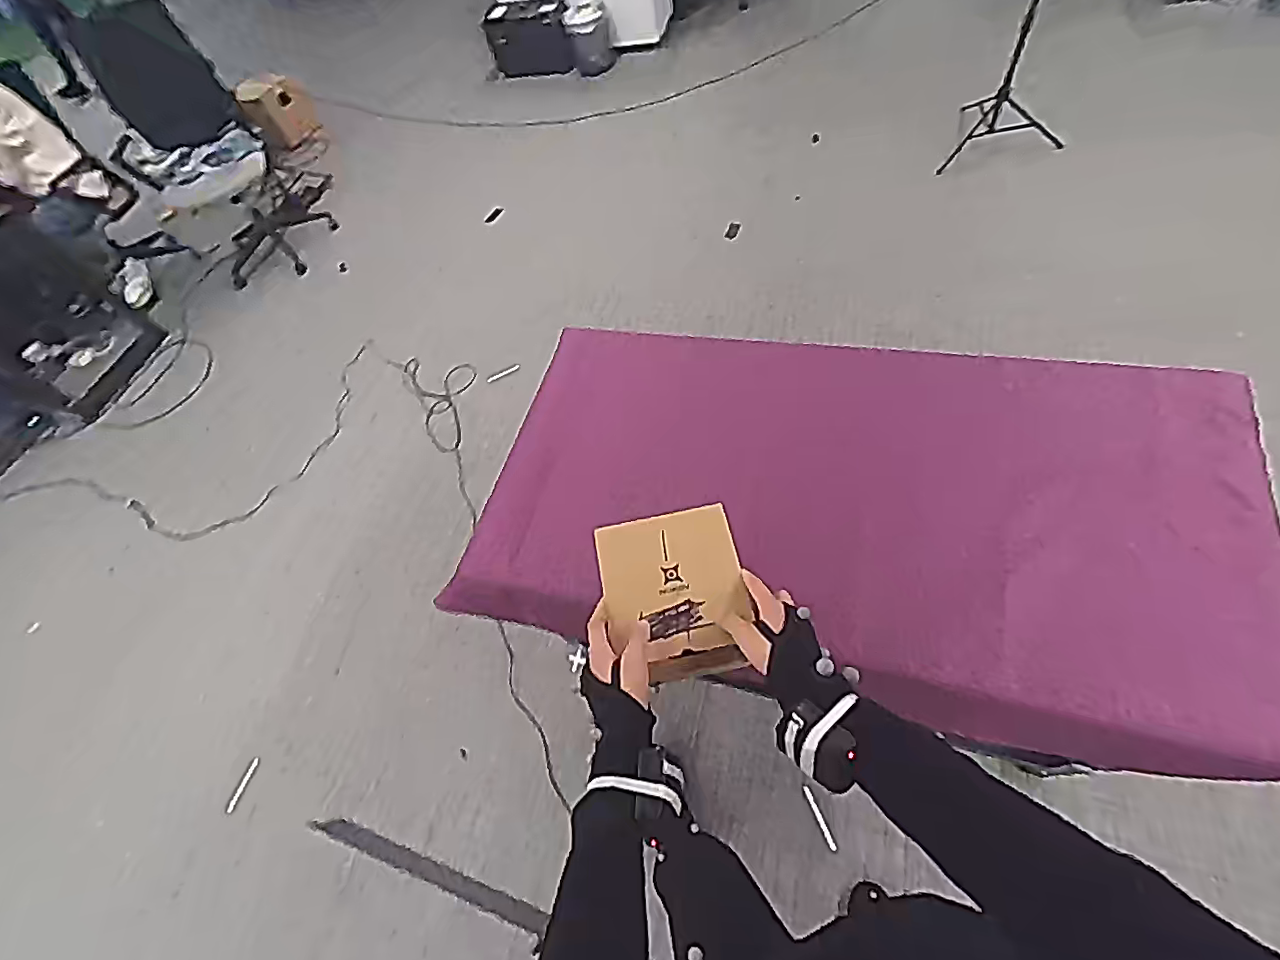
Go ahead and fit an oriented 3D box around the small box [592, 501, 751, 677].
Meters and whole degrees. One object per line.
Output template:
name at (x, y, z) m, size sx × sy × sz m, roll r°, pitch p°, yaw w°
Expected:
small box at (0.041, 0.152, 0.710) m, size 0.168 × 0.176 × 0.179 m, roll -11°, pitch 61°, yaw 0°
